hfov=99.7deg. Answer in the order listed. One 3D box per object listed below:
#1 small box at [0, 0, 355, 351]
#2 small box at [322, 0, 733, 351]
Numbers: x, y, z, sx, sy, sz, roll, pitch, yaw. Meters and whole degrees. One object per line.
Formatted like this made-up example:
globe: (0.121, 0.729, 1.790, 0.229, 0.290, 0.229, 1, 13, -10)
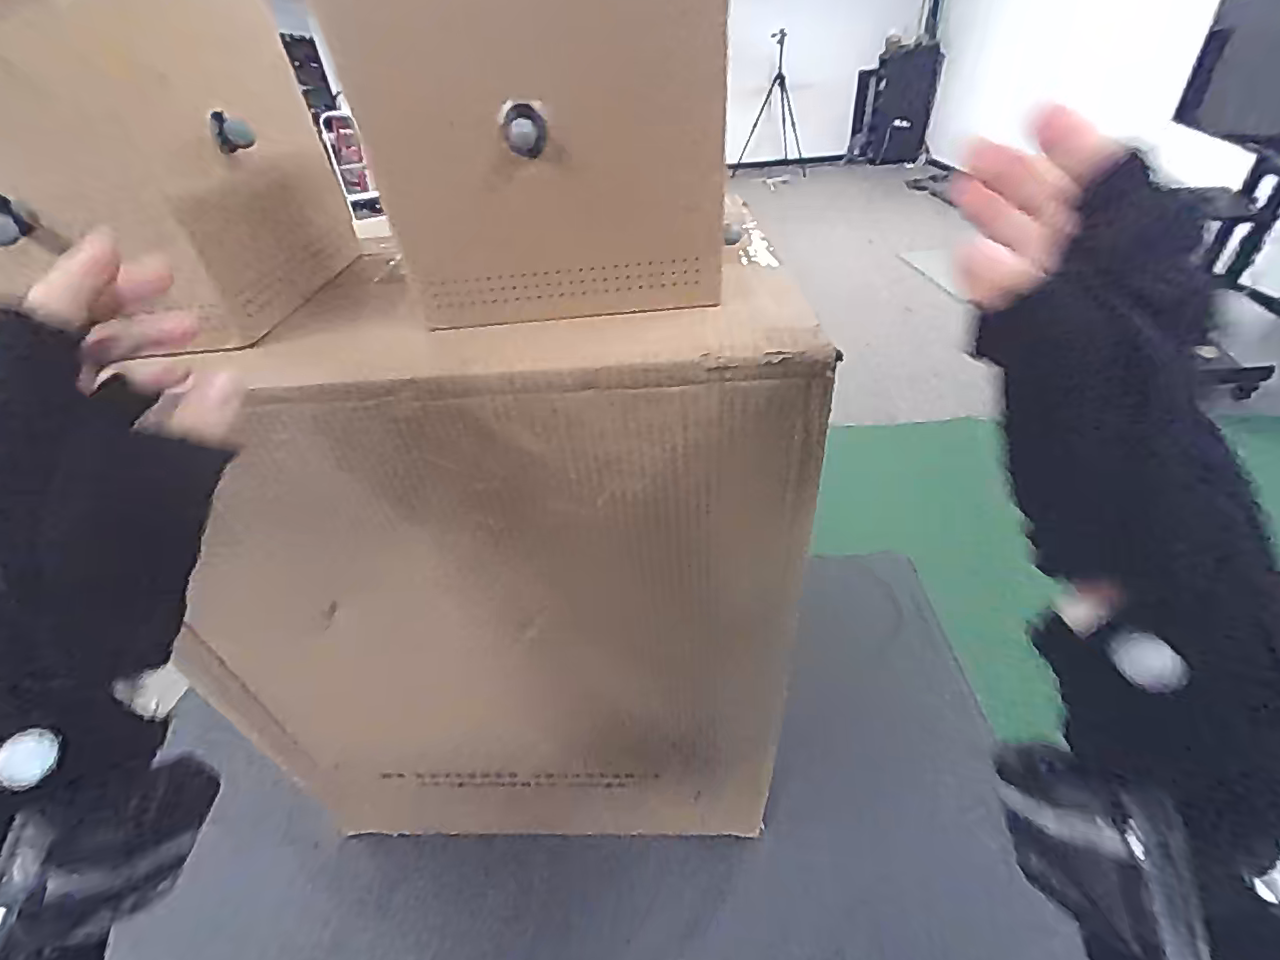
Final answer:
small box: (-0.311, -0.190, 0.334, 0.168, 0.176, 0.179, -4, 41, 2)
small box: (-0.045, -0.195, 0.336, 0.179, 0.176, 0.168, -5, 40, 1)
